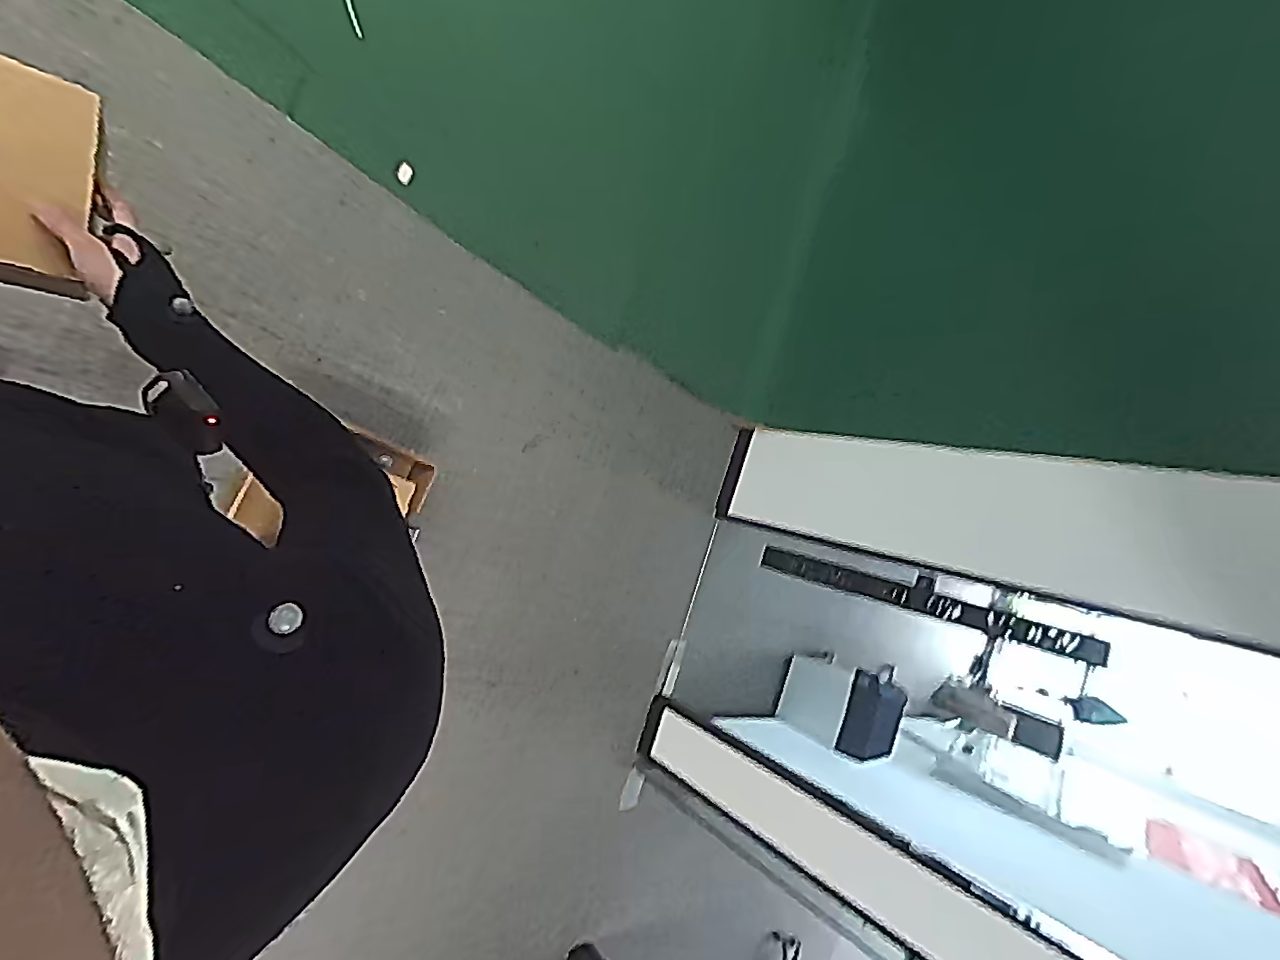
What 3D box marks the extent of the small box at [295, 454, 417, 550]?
[{"bbox_3d":[-0.667,0.047,1.269,0.179,0.176,0.168,29,78,-45],"label":"small box"}]
